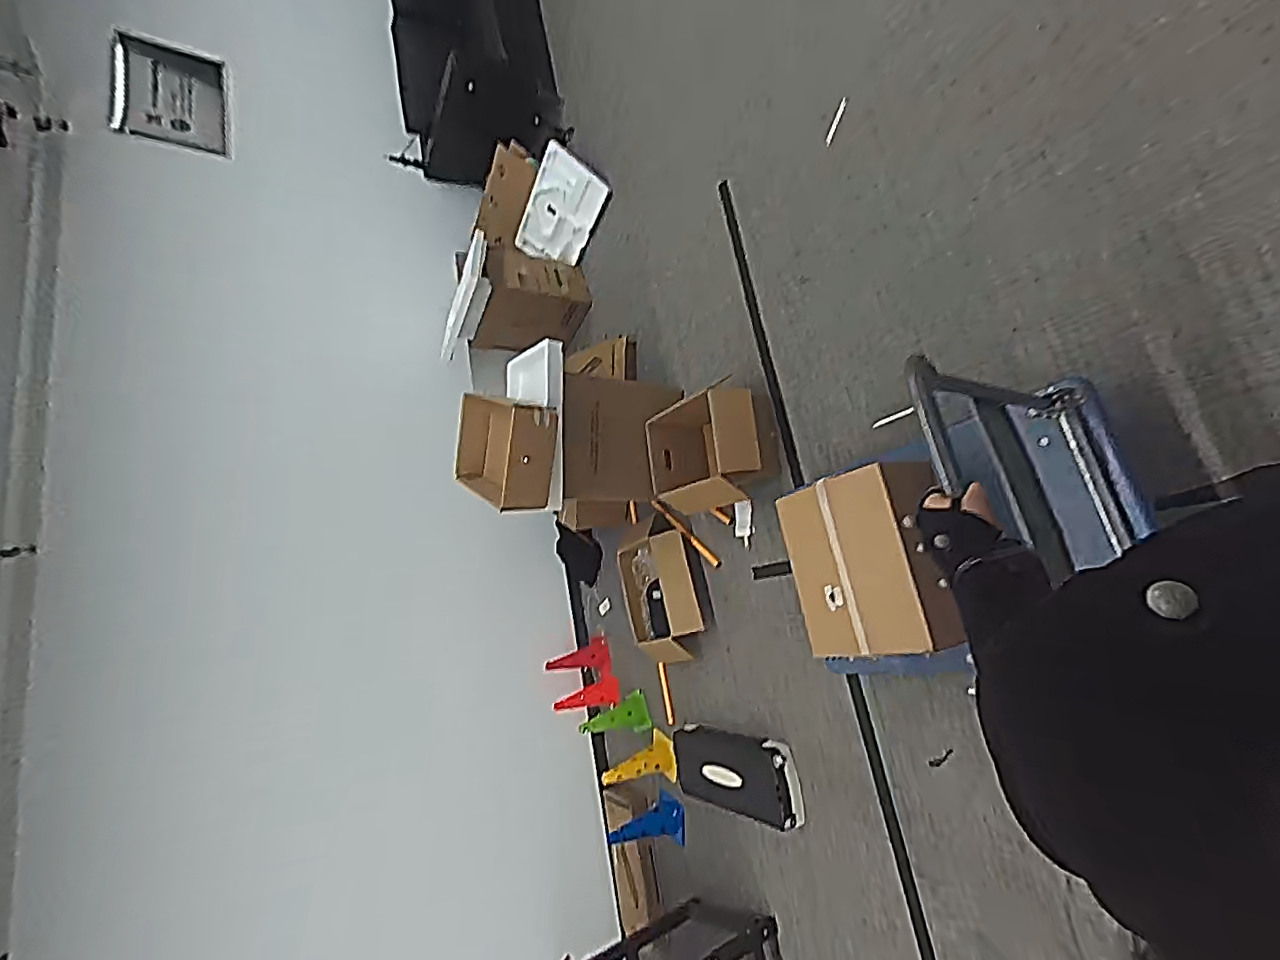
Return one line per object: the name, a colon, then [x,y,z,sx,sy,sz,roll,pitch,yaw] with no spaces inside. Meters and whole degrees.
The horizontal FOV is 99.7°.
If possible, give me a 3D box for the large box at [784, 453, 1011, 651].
large box: [0.615,0.173,1.321,0.320,0.320,0.408,-31,67,55]
